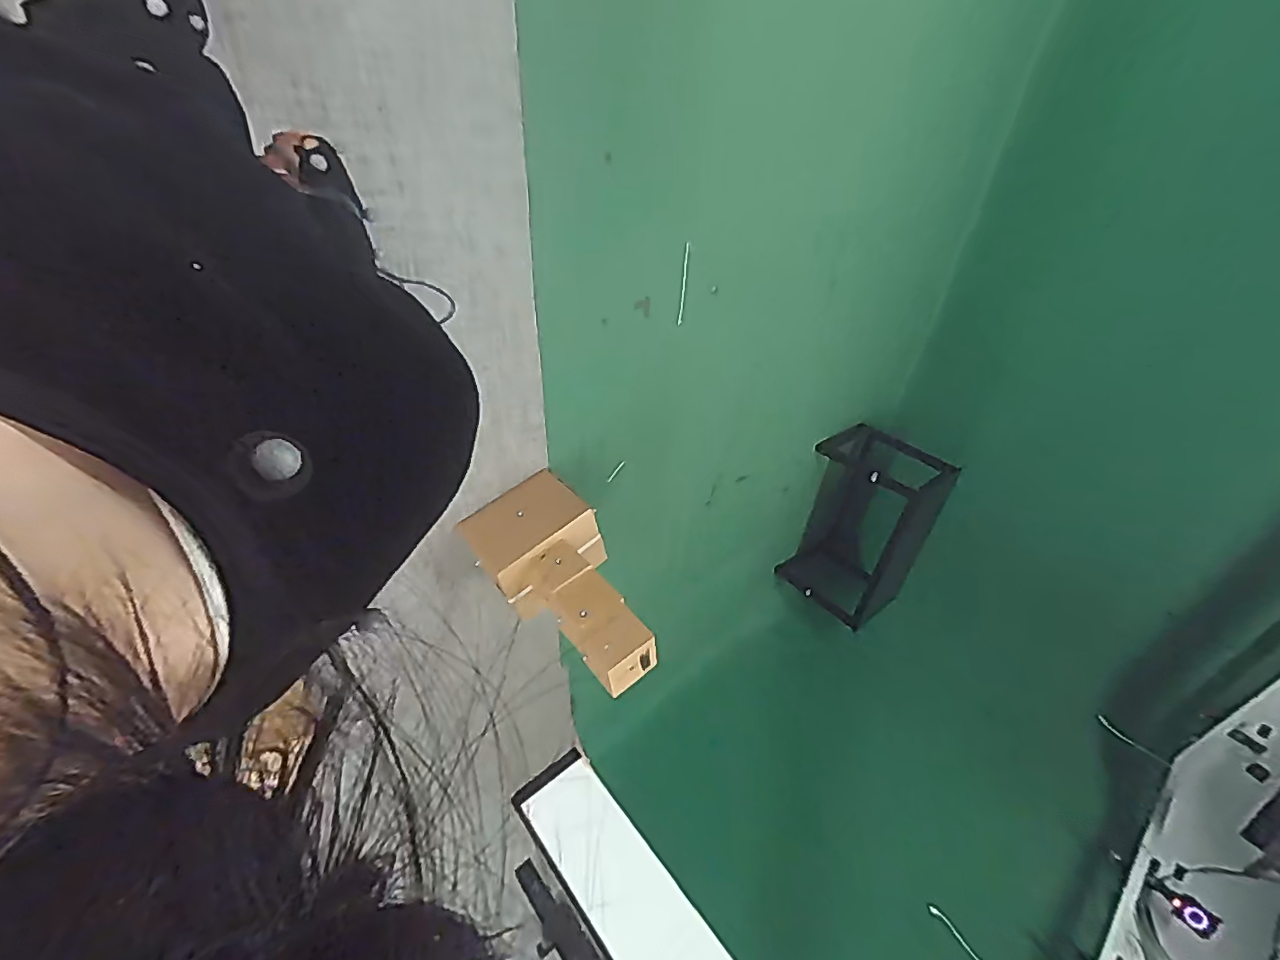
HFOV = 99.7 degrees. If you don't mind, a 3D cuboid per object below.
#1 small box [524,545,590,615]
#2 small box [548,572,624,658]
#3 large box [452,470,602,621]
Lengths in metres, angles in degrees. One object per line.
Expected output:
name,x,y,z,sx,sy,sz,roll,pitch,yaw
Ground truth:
small box,-0.277,0.347,1.852,0.168,0.176,0.179,-32,138,-26
small box,-0.175,0.431,1.760,0.179,0.176,0.168,-31,138,-27
large box,-0.415,0.237,2.028,0.408,0.320,0.320,-37,142,-23
